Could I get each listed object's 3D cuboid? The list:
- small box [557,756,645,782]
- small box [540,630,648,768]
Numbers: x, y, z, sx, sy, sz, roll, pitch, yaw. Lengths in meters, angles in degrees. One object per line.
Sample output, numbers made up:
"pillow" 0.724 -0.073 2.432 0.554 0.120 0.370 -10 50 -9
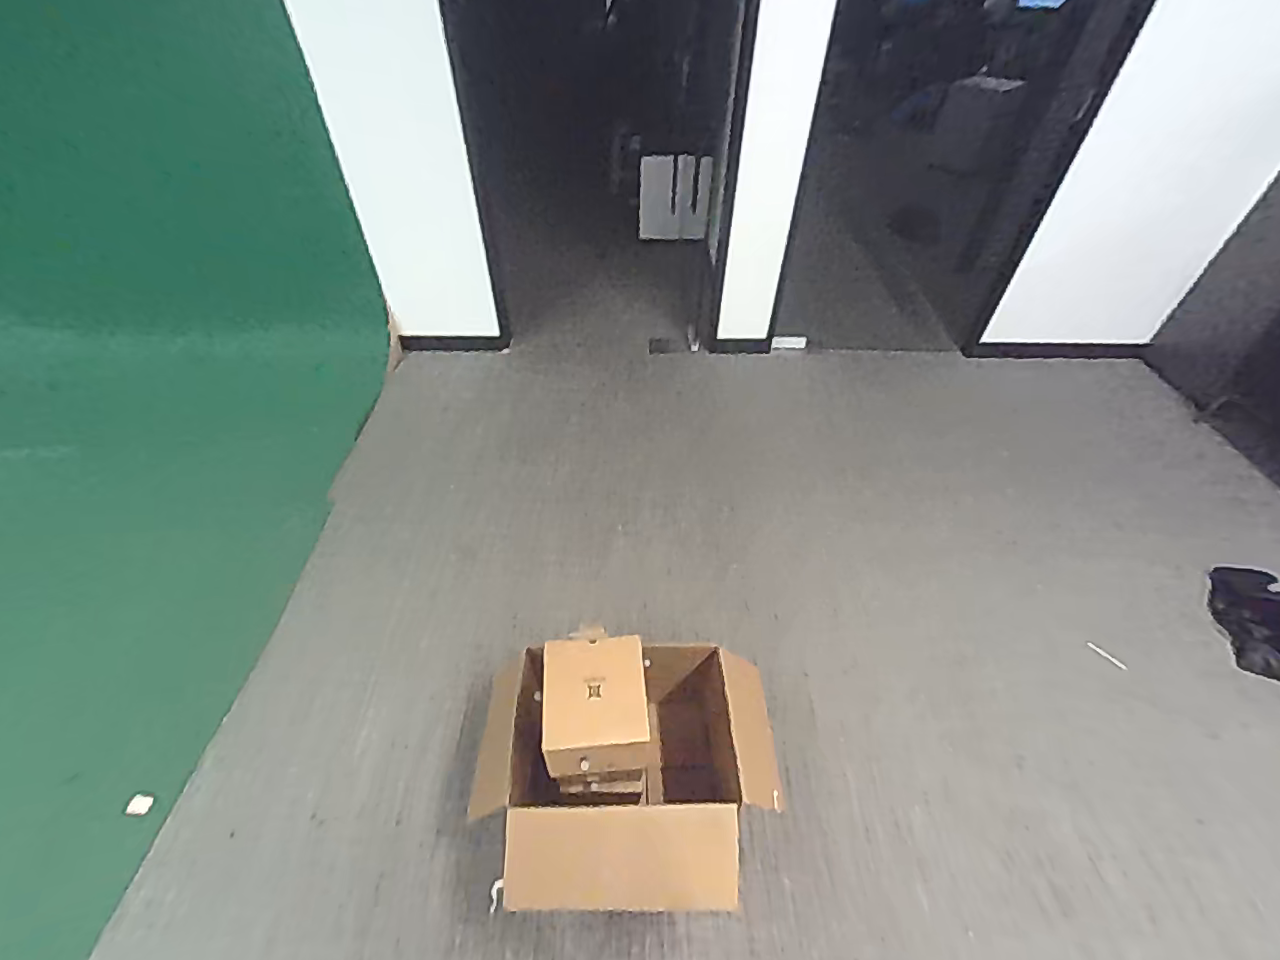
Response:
"small box" -0.080 0.472 1.057 0.168 0.176 0.179 -1 50 -4
"small box" -0.077 0.379 0.924 0.168 0.176 0.179 -3 48 -5
